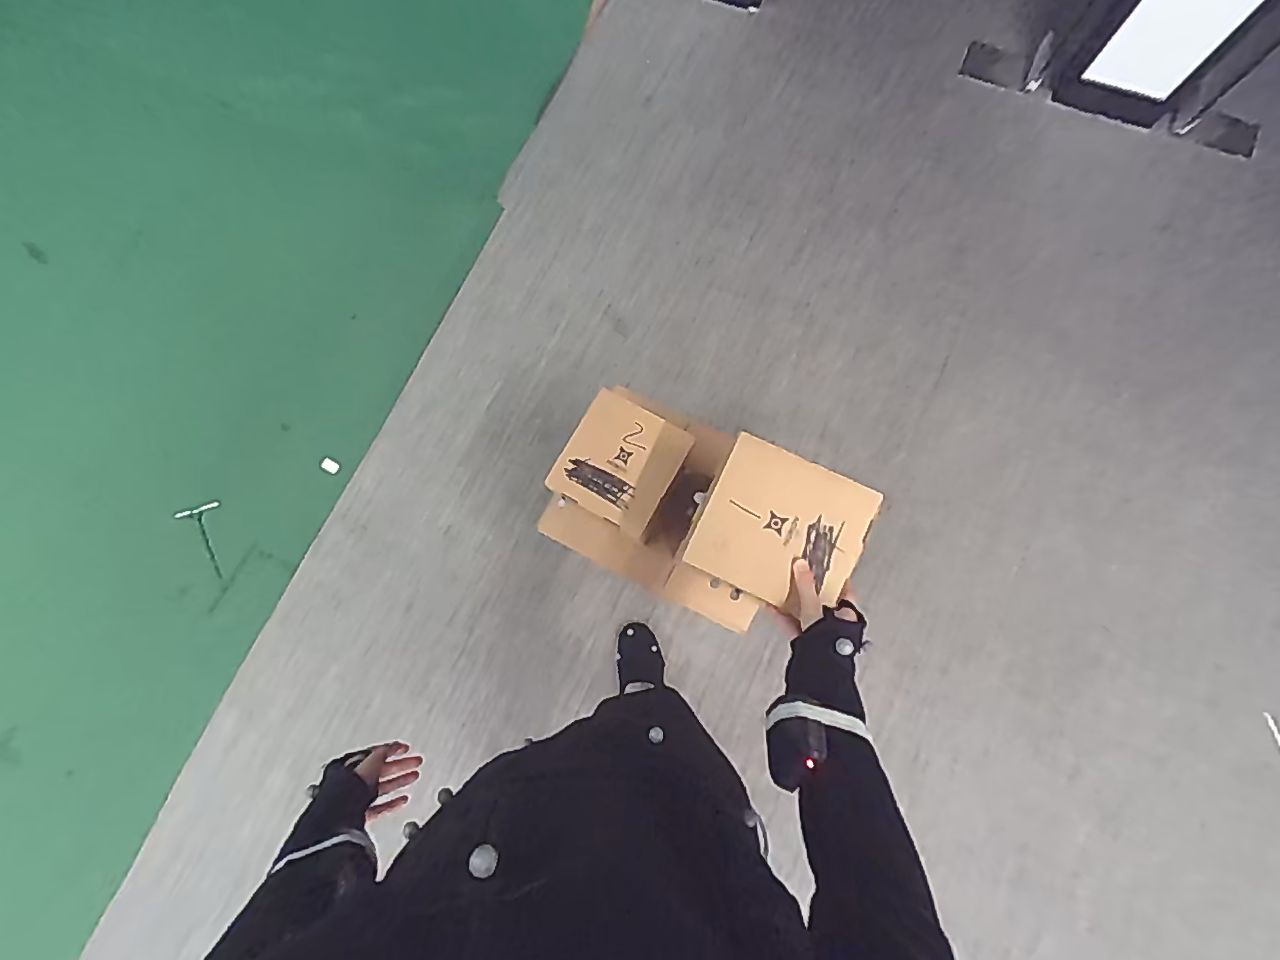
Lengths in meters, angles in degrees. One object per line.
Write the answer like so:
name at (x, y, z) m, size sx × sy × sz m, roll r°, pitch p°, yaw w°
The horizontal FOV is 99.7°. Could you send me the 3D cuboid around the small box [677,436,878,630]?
small box at (0.159, 0.067, 0.682) m, size 0.179 × 0.176 × 0.168 m, roll 25°, pitch 83°, yaw 8°
